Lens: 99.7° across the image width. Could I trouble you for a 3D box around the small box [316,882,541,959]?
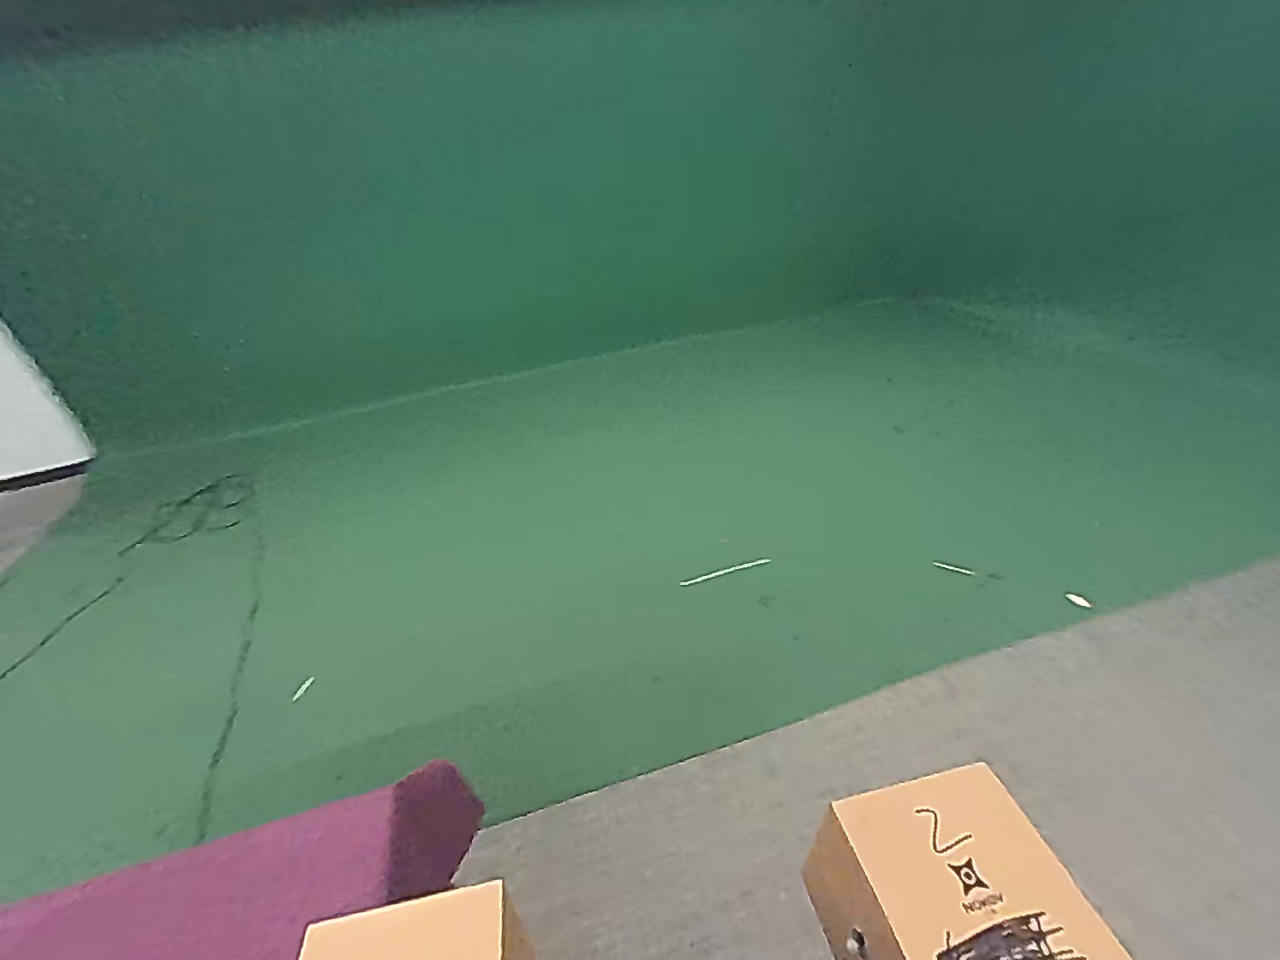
[{"bbox_3d":[-0.171,0.480,0.447,0.168,0.176,0.179,-8,36,-7],"label":"small box"}]
